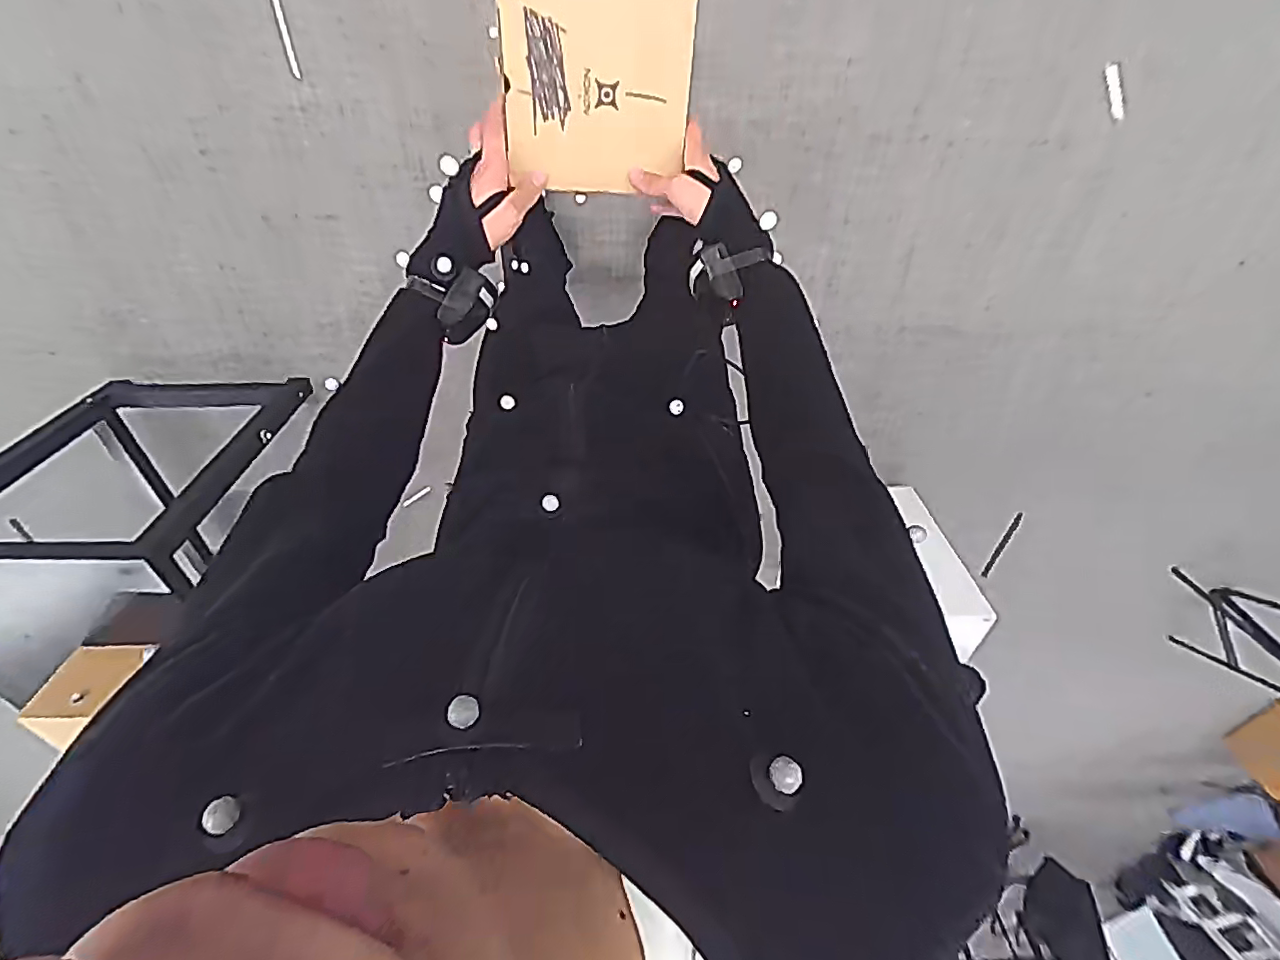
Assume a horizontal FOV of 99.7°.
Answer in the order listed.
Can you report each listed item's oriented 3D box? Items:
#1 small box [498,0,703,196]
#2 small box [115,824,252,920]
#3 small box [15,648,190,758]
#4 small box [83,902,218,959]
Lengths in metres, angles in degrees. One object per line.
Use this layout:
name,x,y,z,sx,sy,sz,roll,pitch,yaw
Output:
small box,-0.048,-0.398,0.557,0.179,0.176,0.168,-2,124,-11
small box,-1.155,1.004,1.386,0.179,0.176,0.168,-1,129,-2
small box,-1.151,0.483,1.179,0.179,0.176,0.168,0,129,-2
small box,-1.150,1.106,1.259,0.179,0.176,0.168,-1,130,-2
